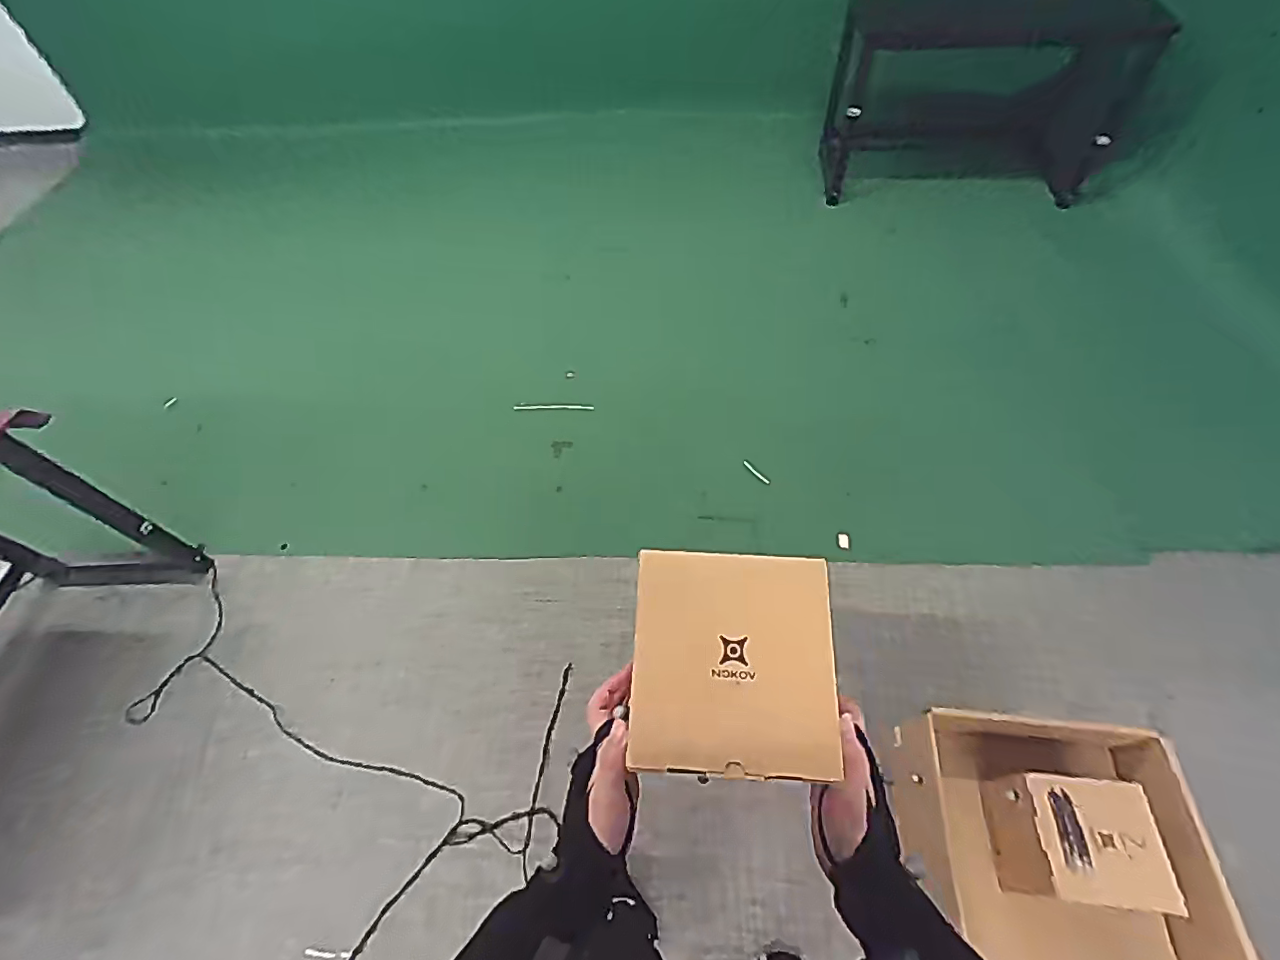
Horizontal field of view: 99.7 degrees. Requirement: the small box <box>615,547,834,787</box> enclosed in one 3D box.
[{"bbox_3d":[0.067,0.174,0.505,0.168,0.176,0.179,3,66,2],"label":"small box"}]
